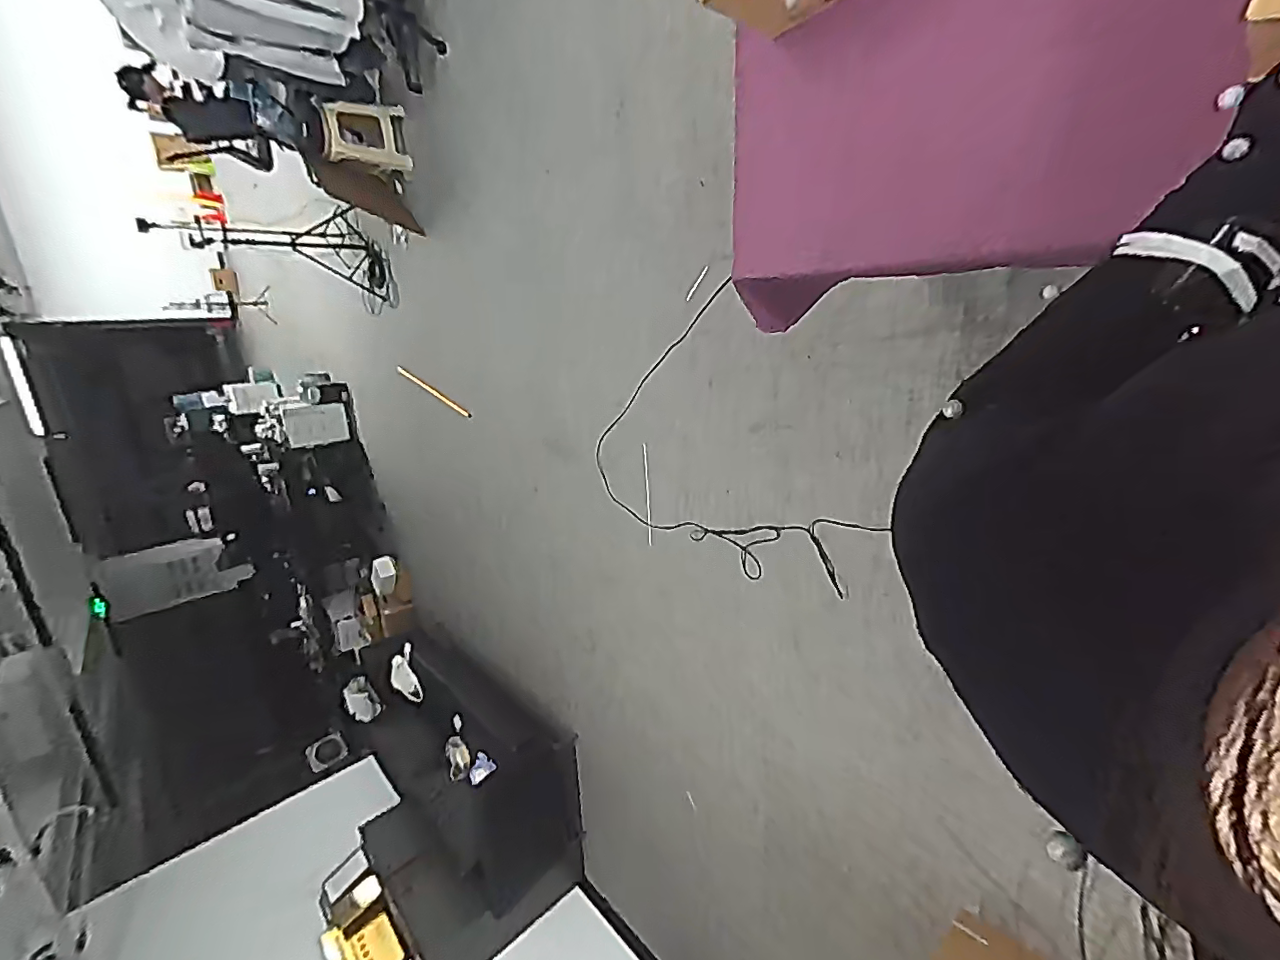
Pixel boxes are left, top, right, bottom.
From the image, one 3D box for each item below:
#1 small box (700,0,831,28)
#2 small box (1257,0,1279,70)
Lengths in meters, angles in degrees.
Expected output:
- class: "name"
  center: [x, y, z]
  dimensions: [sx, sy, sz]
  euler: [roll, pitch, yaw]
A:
- class: "small box"
  center: [0.182, -0.708, 0.673]
  dimensions: [0.168, 0.176, 0.179]
  euler: [8, 110, 47]
- class: "small box"
  center: [0.557, -0.398, 0.349]
  dimensions: [0.168, 0.176, 0.179]
  euler: [31, 125, 39]
